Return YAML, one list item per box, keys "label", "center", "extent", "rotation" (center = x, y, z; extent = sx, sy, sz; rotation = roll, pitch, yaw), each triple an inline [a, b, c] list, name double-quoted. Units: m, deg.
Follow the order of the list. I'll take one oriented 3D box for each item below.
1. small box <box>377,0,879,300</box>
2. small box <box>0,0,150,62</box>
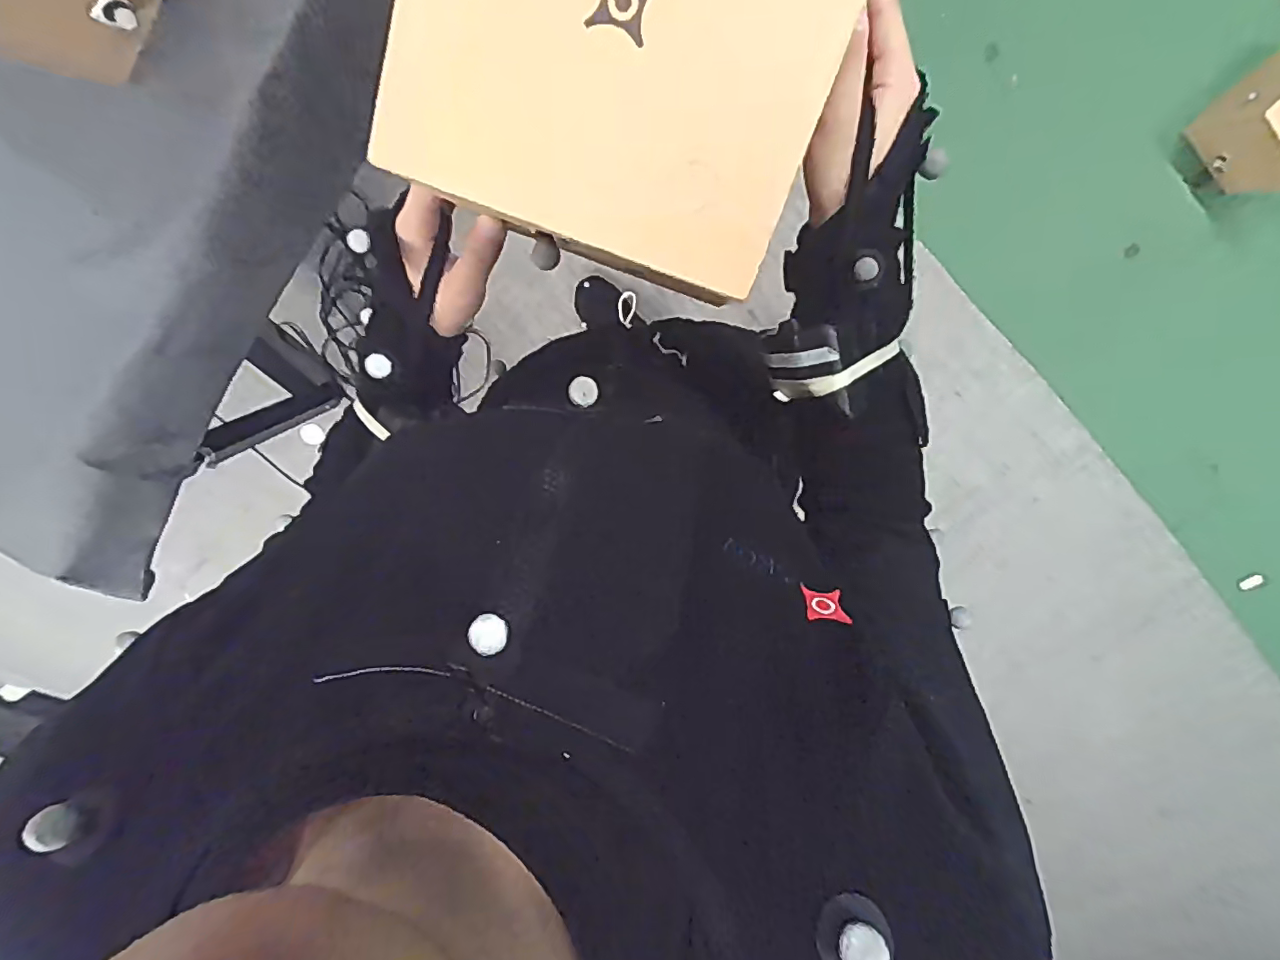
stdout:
- label: "small box"
  center: [0.007, -0.199, 0.265]
  extent: [0.168, 0.176, 0.179]
  rotation: [20, 107, -2]
- label: "small box"
  center: [-0.497, -0.449, 0.382]
  extent: [0.179, 0.176, 0.168]
  rotation: [42, 113, -14]
